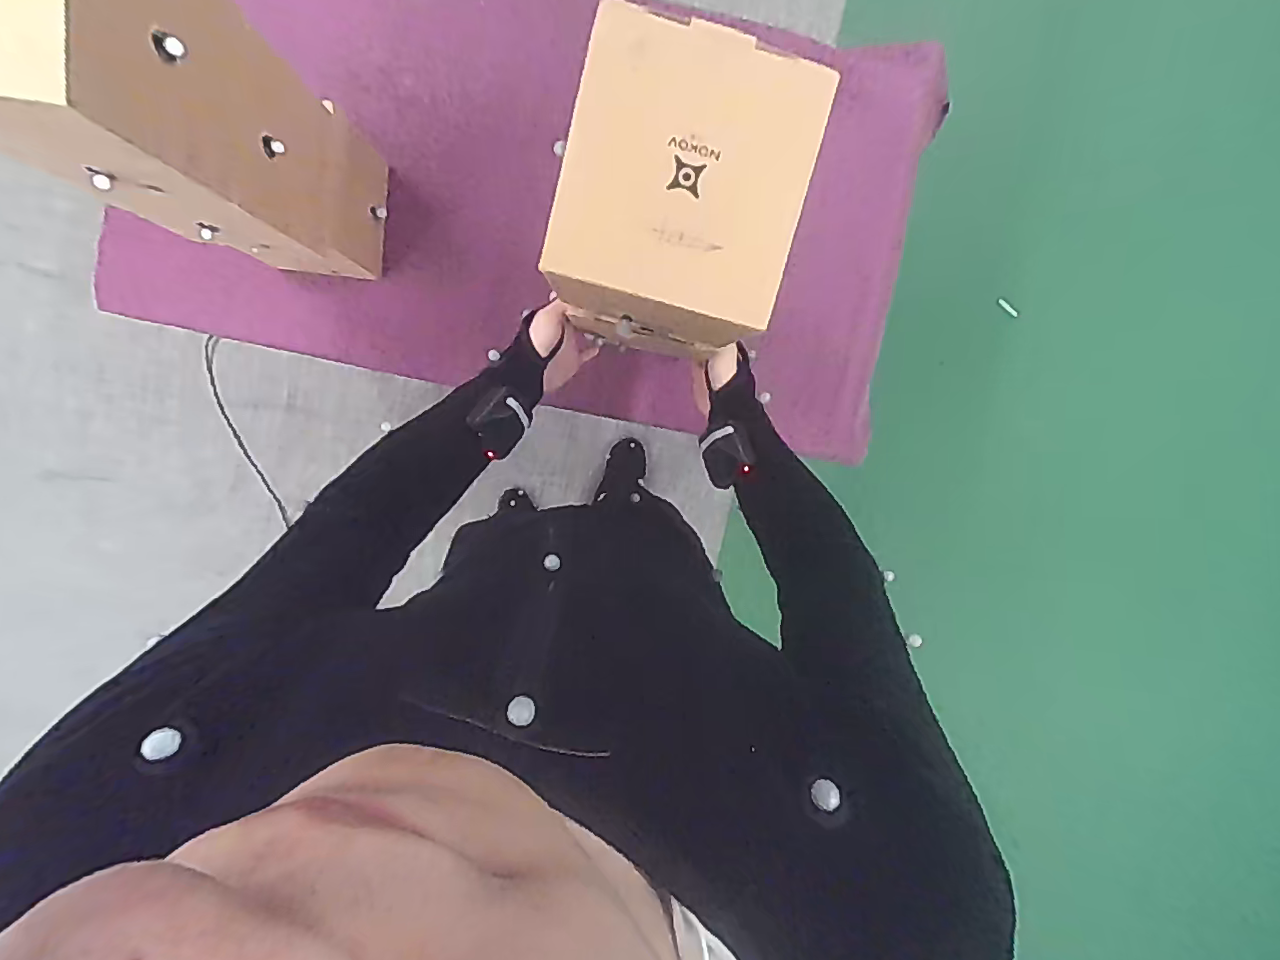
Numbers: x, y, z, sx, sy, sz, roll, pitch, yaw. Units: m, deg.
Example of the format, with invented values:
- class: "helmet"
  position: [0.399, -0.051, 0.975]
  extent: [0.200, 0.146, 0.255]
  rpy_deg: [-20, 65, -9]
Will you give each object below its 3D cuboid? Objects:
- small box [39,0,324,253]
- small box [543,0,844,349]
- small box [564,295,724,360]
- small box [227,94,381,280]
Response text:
- class: "small box"
  position: [-0.463, -0.361, 0.574]
  extent: [0.168, 0.176, 0.179]
  rpy_deg: [7, 95, -5]
- class: "small box"
  position: [0.029, -0.216, 0.435]
  extent: [0.168, 0.176, 0.179]
  rpy_deg: [15, 98, -5]
- class: "small box"
  position: [0.021, -0.238, 0.596]
  extent: [0.168, 0.176, 0.179]
  rpy_deg: [13, 97, -5]
- class: "small box"
  position: [-0.472, -0.394, 0.736]
  extent: [0.168, 0.176, 0.179]
  rpy_deg: [6, 95, -3]
